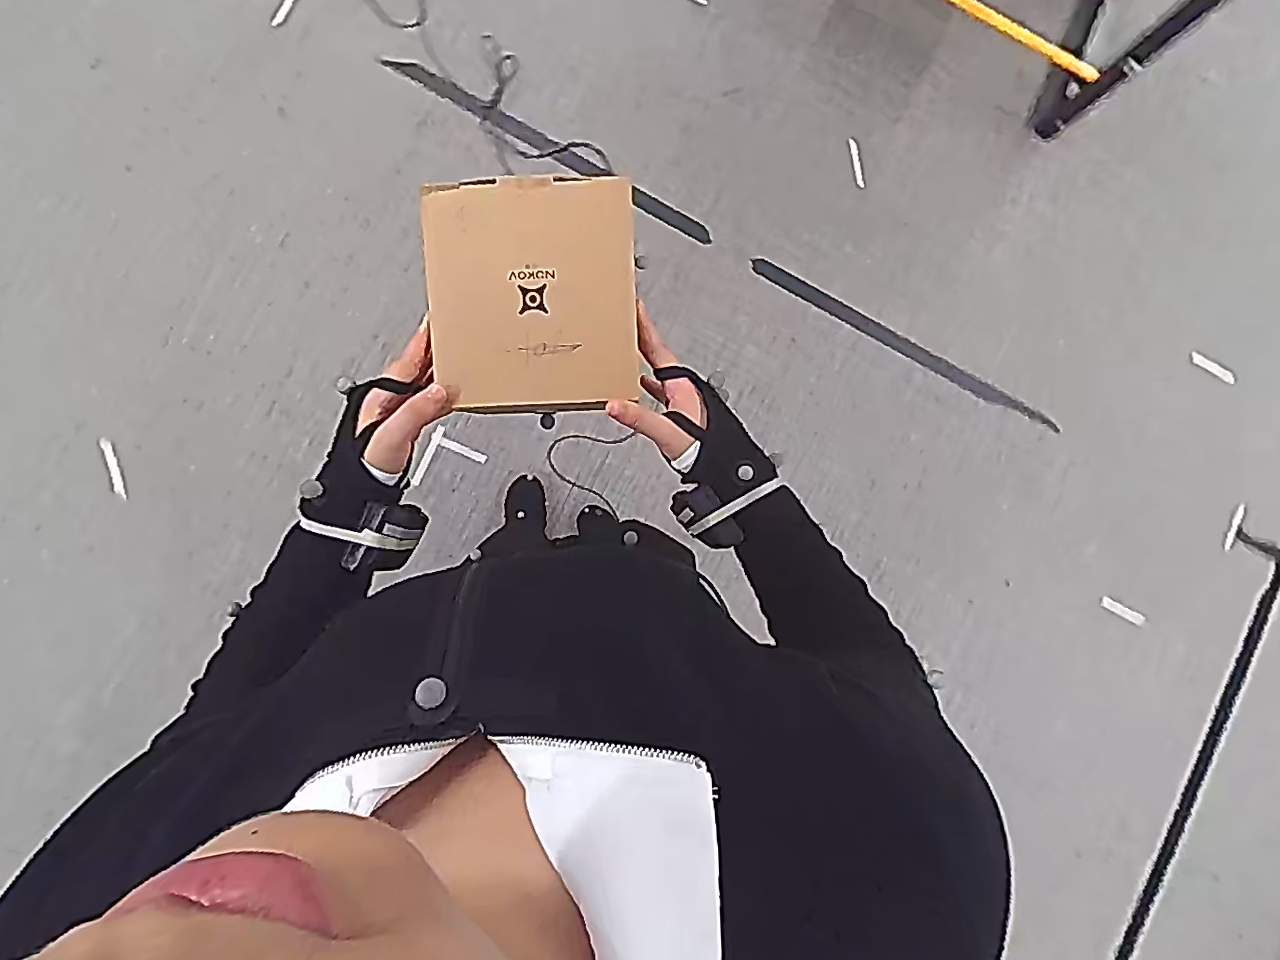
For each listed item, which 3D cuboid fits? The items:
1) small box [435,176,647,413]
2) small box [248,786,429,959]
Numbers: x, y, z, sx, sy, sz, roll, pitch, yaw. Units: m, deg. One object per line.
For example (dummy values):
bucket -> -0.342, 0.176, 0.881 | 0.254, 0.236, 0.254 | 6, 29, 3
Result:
small box -> -0.080, -0.156, 0.508 | 0.168, 0.176, 0.179 | -2, 95, -1
small box -> -0.474, 0.649, 0.882 | 0.168, 0.176, 0.179 | 26, 85, -2
